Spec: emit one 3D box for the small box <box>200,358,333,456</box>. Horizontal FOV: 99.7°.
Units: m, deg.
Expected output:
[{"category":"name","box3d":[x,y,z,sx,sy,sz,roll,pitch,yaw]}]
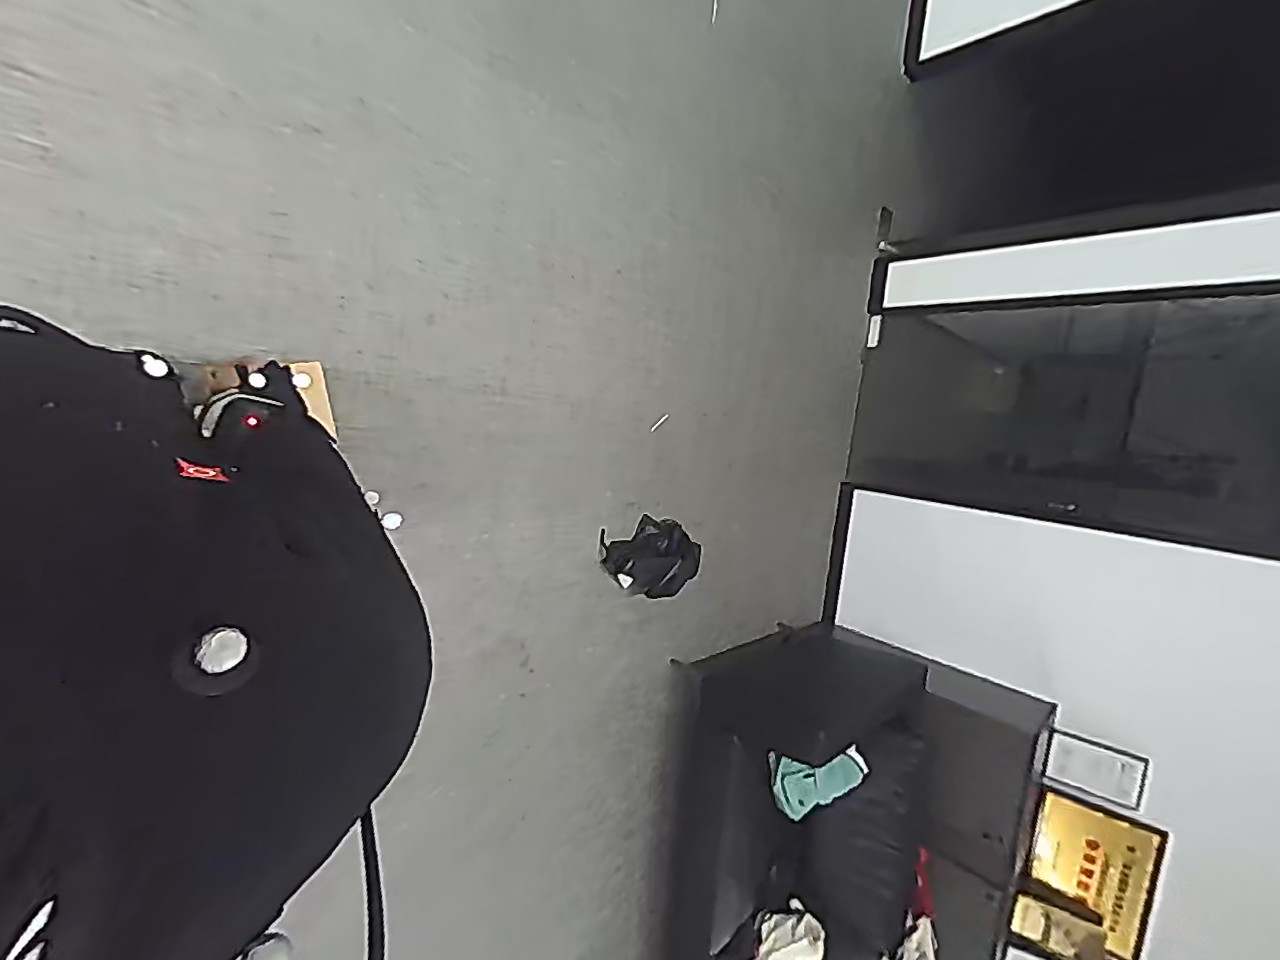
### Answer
[{"category":"small box","box3d":[-0.755,-0.156,1.094,0.179,0.176,0.168,-18,112,-40]}]
